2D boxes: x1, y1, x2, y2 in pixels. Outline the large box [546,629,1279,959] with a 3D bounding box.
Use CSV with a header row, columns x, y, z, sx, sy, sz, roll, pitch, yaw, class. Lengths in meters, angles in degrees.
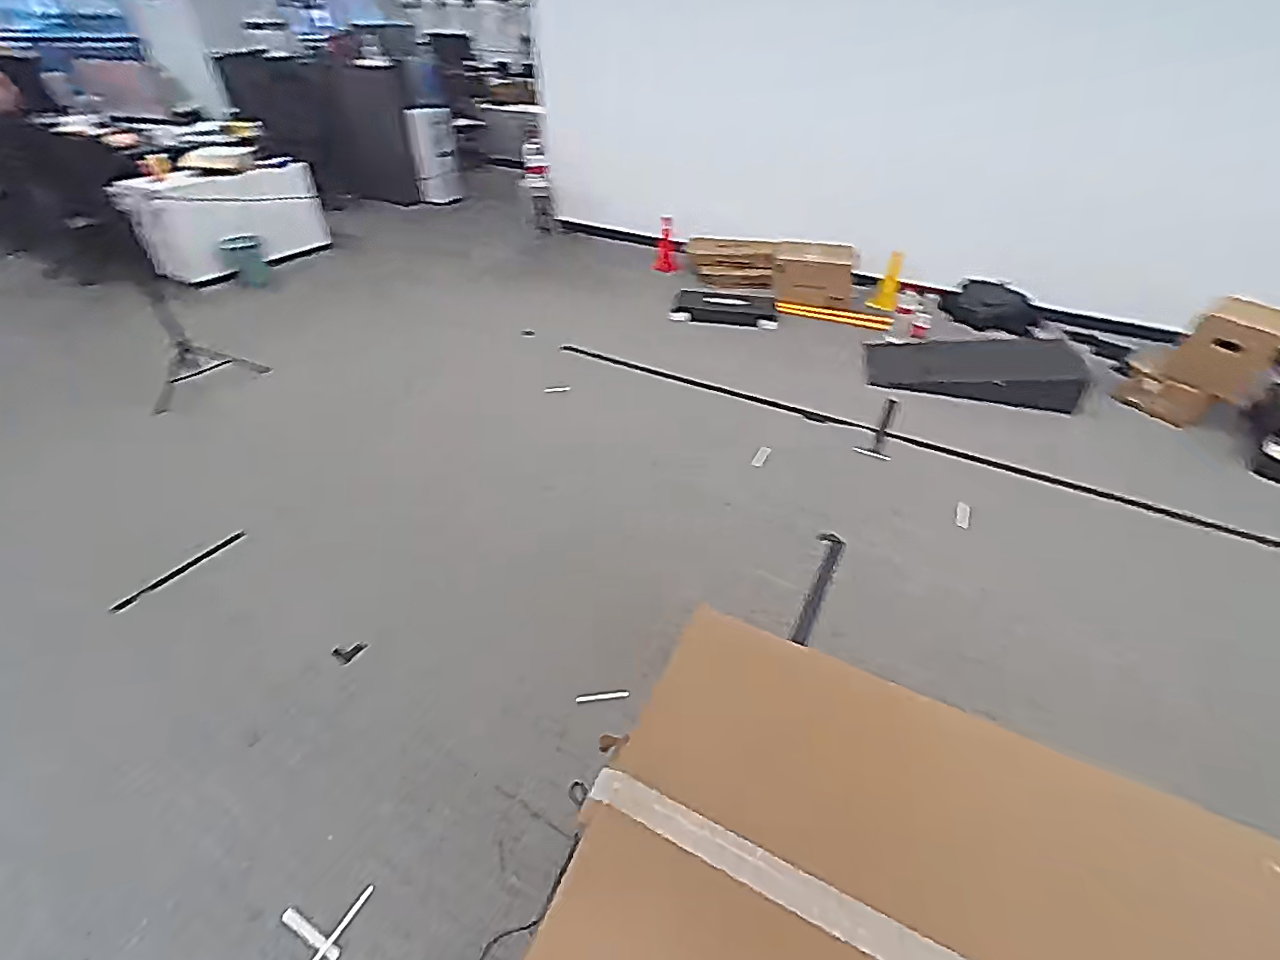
x,y,z,sx,sy,sz,roll,pitch,yaw,class
0.159,0.383,0.404,0.408,0.320,0.320,19,48,18,large box
